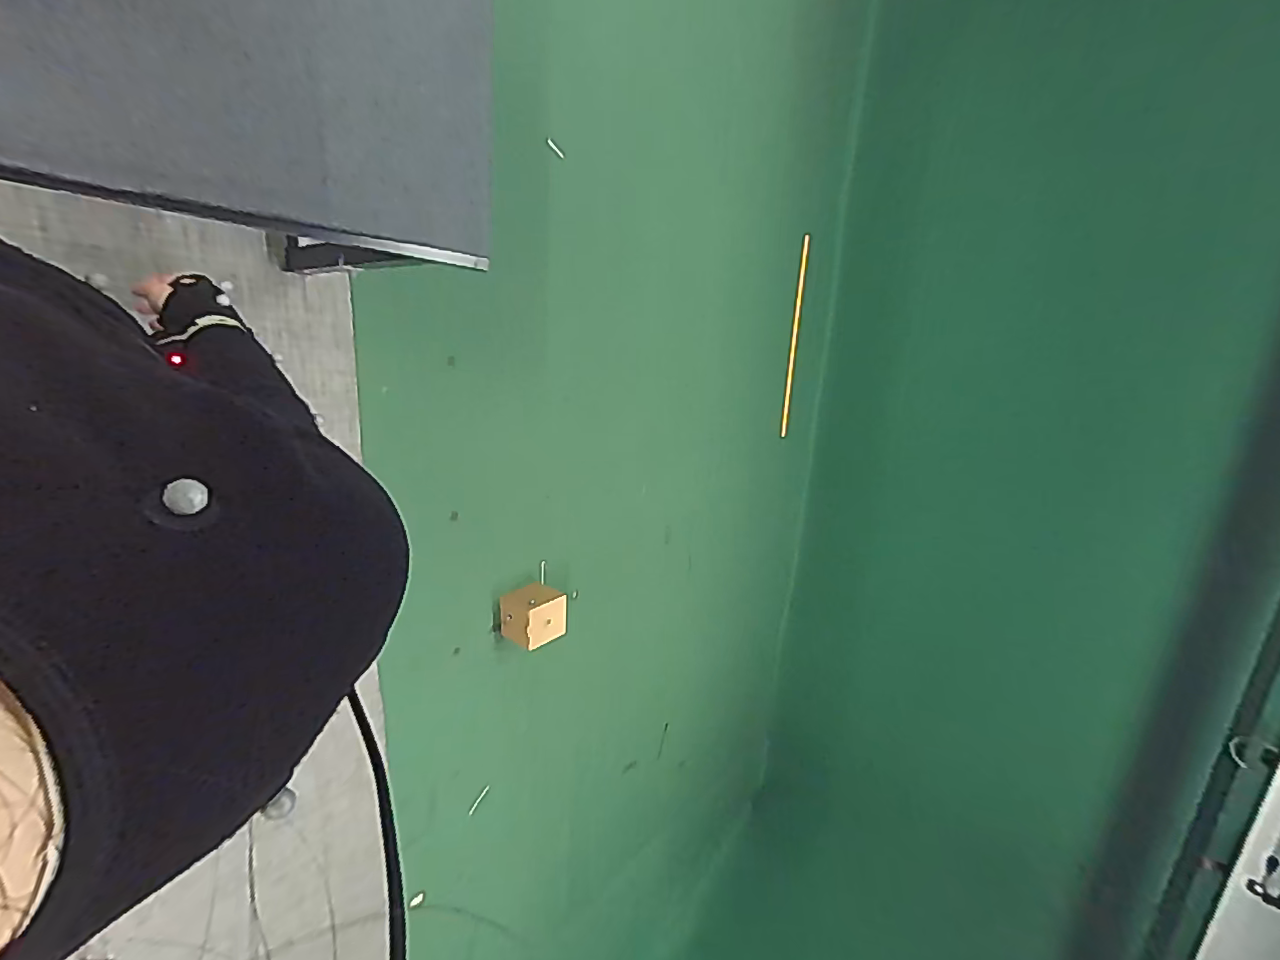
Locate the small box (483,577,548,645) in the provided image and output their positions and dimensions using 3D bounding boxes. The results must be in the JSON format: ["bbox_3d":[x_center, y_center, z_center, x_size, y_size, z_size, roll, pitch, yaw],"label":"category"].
[{"bbox_3d":[-0.466,0.485,2.028,0.179,0.176,0.168,-15,115,-49],"label":"small box"}]
